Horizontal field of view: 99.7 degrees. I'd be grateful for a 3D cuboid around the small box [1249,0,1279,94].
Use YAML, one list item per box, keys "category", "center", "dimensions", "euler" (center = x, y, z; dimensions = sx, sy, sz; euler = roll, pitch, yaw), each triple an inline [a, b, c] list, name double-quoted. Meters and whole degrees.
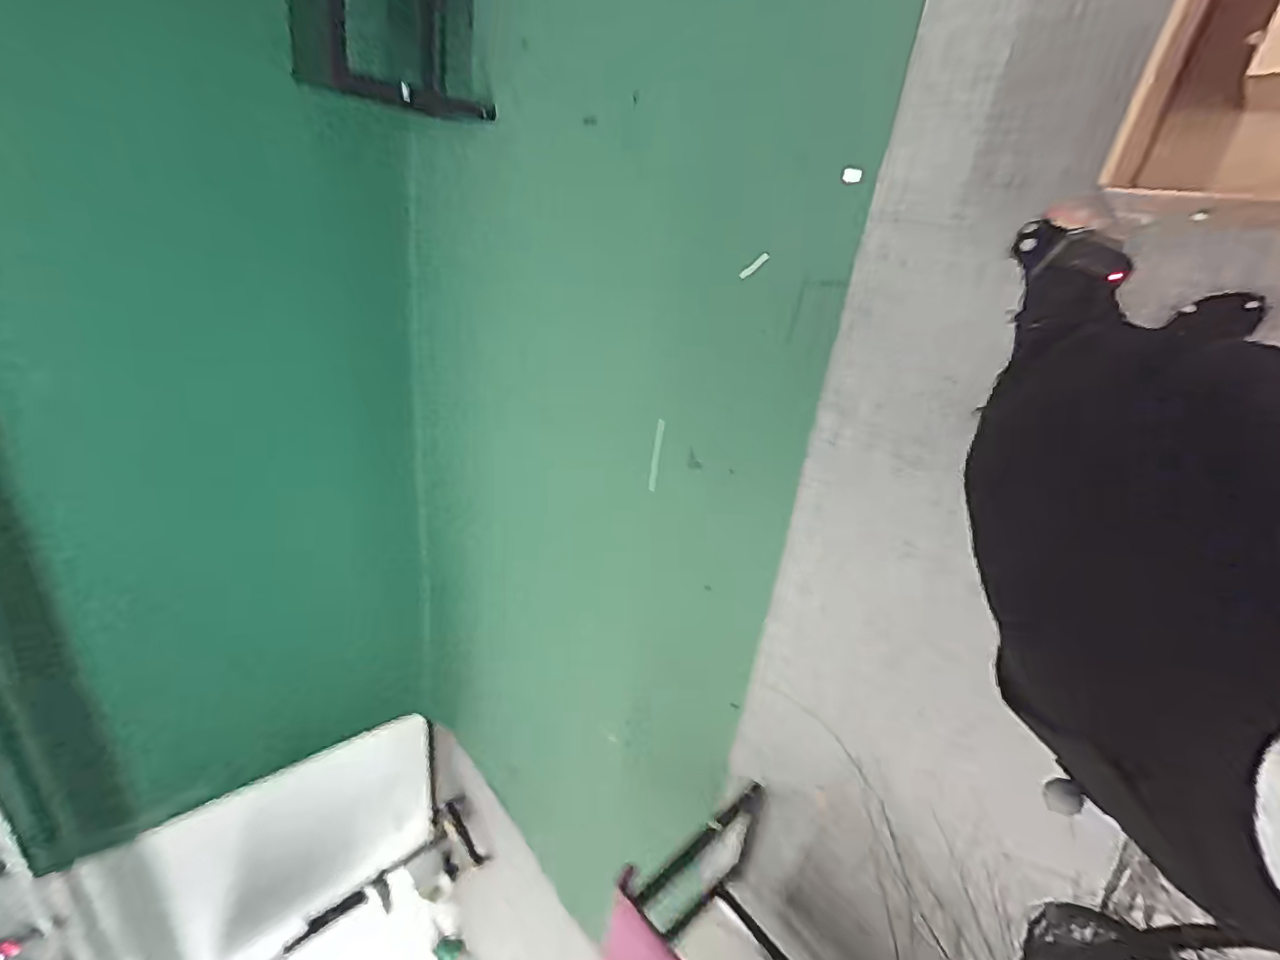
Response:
- category: "small box"
  center: [0.789, -0.516, 0.553]
  dimensions: [0.168, 0.176, 0.179]
  euler: [31, 122, 40]
